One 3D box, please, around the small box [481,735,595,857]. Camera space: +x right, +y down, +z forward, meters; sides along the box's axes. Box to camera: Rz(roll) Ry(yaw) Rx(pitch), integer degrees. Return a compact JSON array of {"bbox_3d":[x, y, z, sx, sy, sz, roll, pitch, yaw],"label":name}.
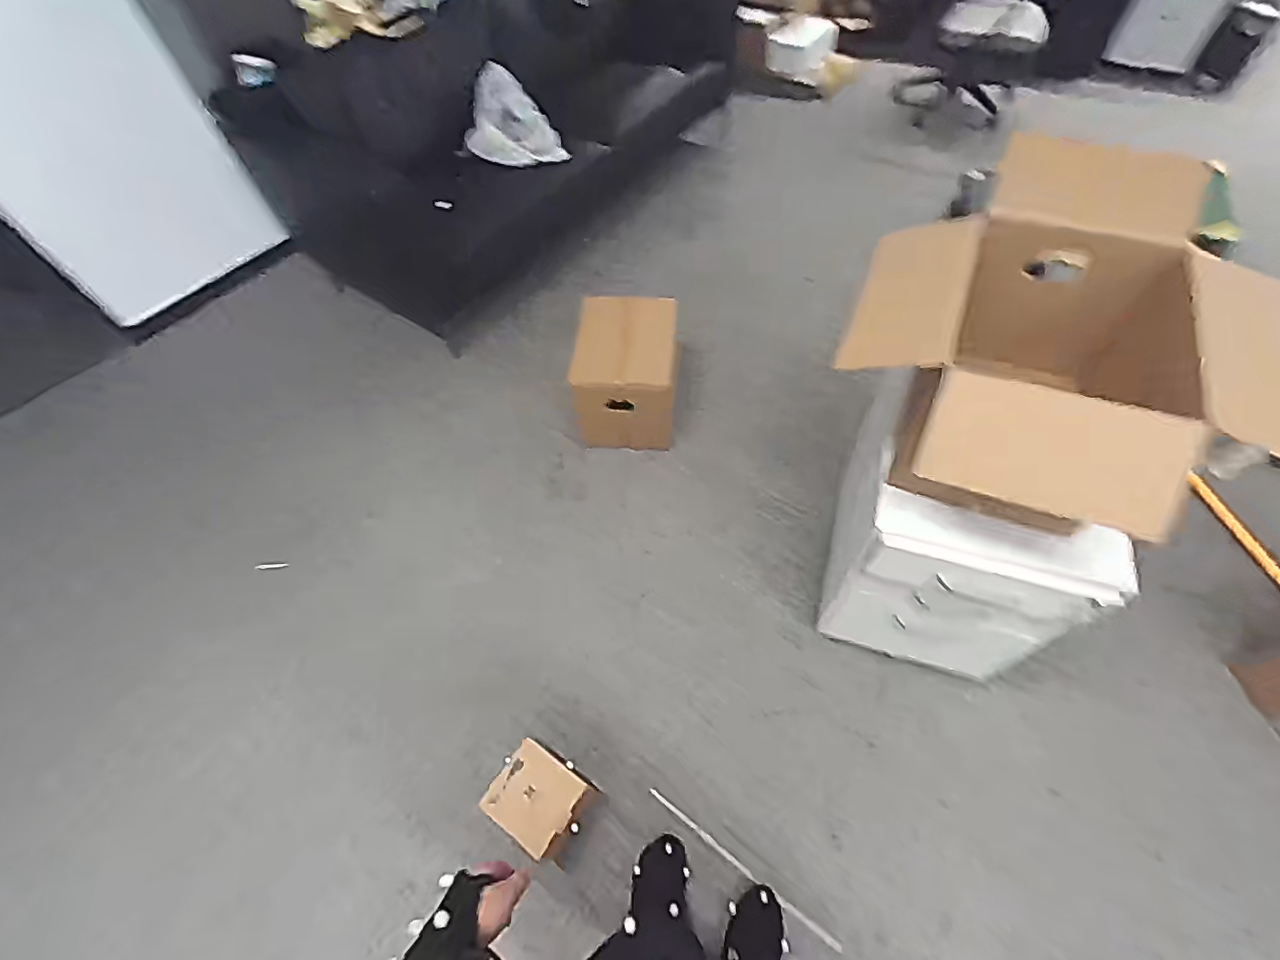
[{"bbox_3d":[-0.220,0.713,1.225,0.179,0.176,0.168,29,62,22],"label":"small box"}]
